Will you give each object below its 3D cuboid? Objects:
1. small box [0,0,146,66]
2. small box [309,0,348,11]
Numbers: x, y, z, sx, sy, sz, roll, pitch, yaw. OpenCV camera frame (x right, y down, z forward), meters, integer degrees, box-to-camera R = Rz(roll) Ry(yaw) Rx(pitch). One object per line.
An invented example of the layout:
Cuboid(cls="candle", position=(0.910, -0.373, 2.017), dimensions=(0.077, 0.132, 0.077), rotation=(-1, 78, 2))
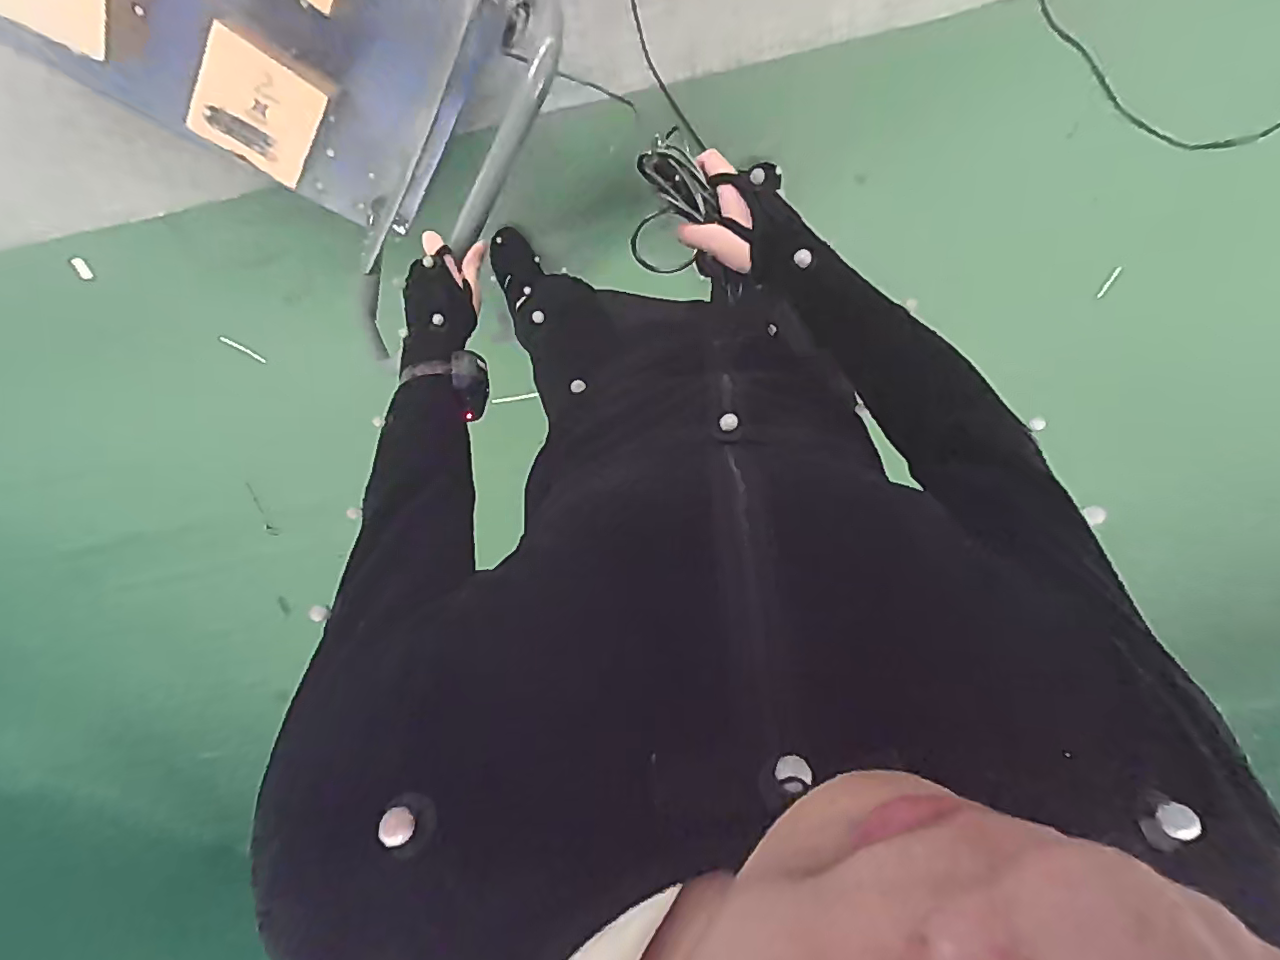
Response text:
Cuboid(cls="small box", position=(-0.867, -0.762, 0.800), dimensions=(0.179, 0.176, 0.168), rotation=(16, 123, -30))
Cuboid(cls="small box", position=(-0.529, -0.865, 0.823), dimensions=(0.179, 0.176, 0.168), rotation=(20, 122, -33))
